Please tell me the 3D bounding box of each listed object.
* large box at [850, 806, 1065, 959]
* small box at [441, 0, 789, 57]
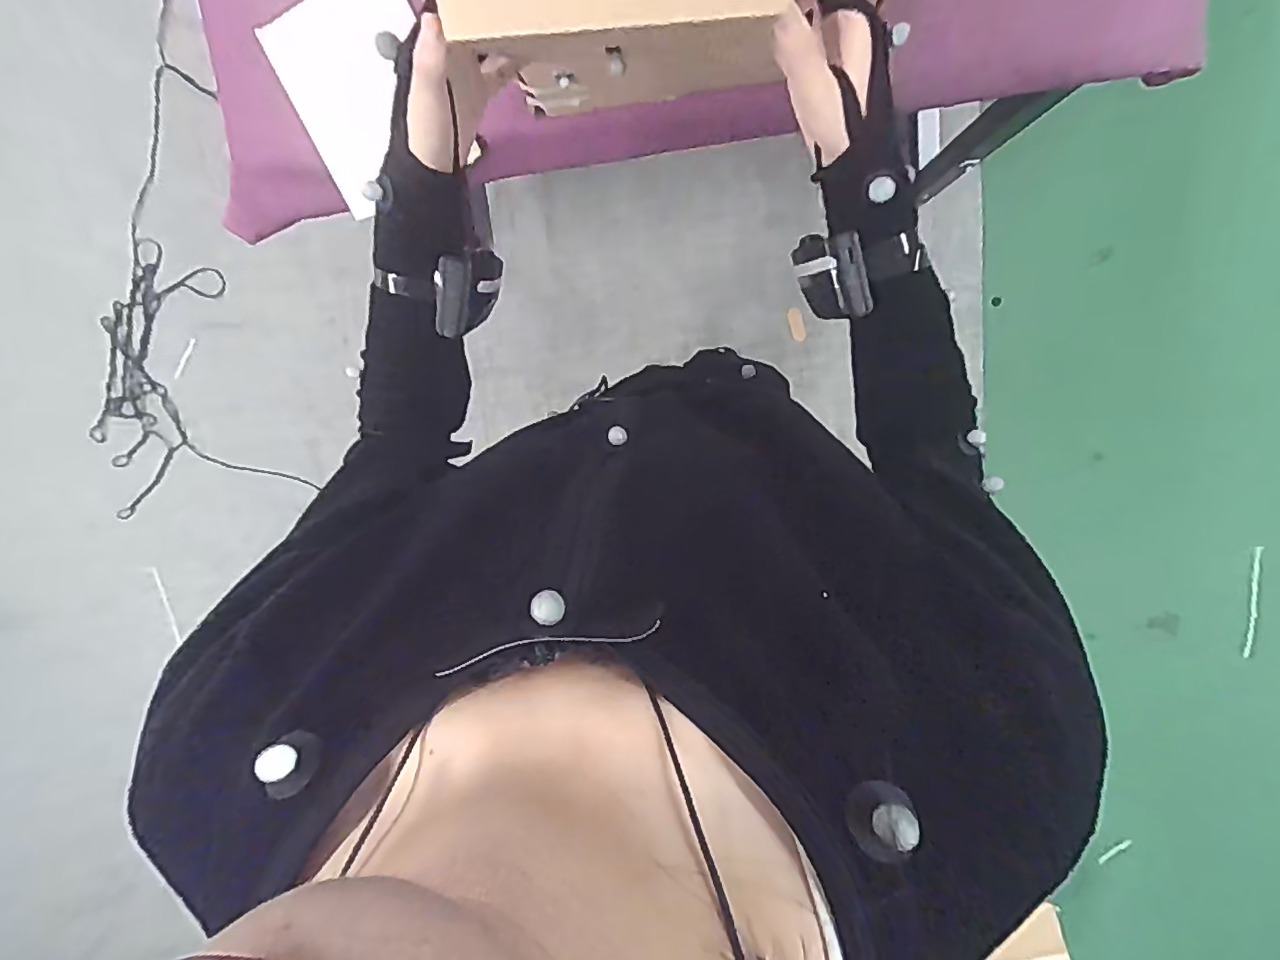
[{"bbox_3d":[0.871,1.199,1.512,0.408,0.320,0.320,-20,99,7],"label":"large box"},{"bbox_3d":[-0.012,-0.328,0.272,0.168,0.176,0.179,-2,124,2],"label":"small box"}]
